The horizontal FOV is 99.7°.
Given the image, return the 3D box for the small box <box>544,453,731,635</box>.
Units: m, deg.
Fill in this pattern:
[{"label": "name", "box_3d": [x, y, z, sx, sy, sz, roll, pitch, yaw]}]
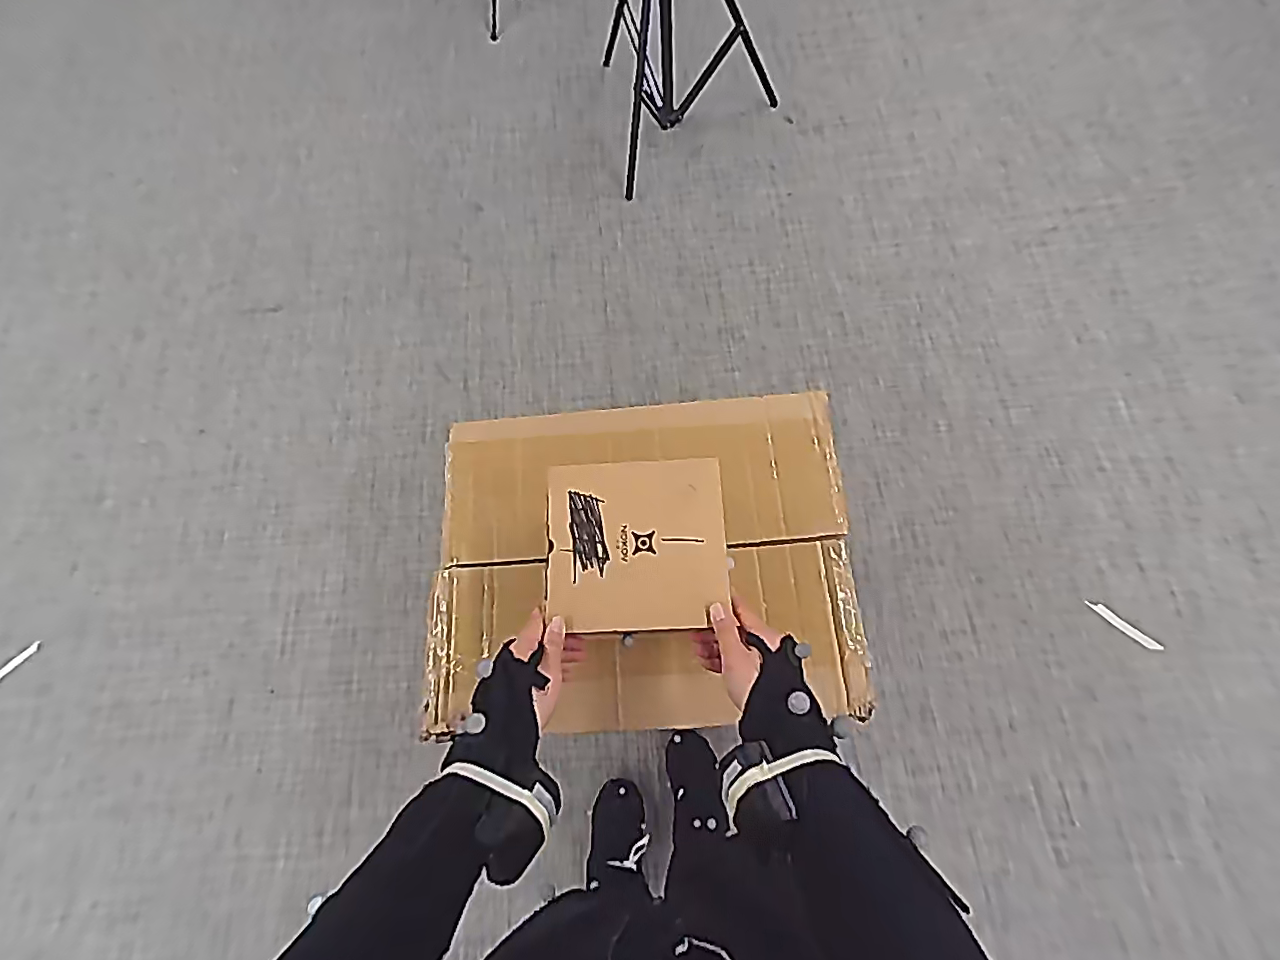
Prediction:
[{"label": "small box", "box_3d": [0.001, 0.080, 0.597, 0.179, 0.176, 0.168, -3, 72, 3]}]
